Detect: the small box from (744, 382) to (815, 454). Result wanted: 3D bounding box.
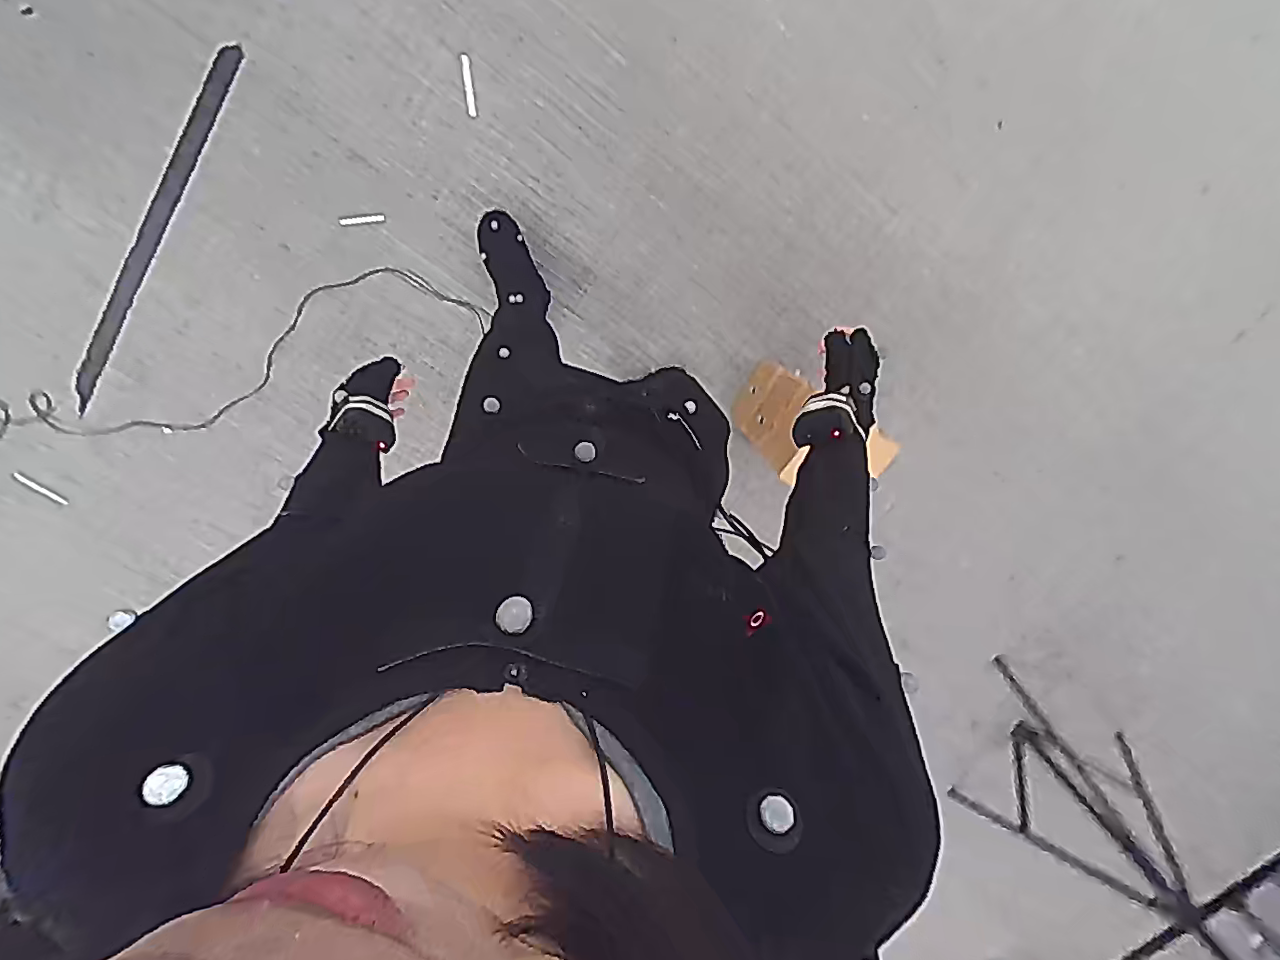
[{"bbox_3d":[0.365,-0.112,1.253,0.179,0.176,0.168,30,107,-12],"label":"small box"}]

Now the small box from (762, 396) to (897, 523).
[{"bbox_3d":[0.372,-0.050,1.102,0.168,0.176,0.179,31,105,-11],"label":"small box"}]

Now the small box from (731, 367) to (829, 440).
[{"bbox_3d":[0.351,-0.175,1.403,0.168,0.176,0.179,27,105,-11],"label":"small box"}]
